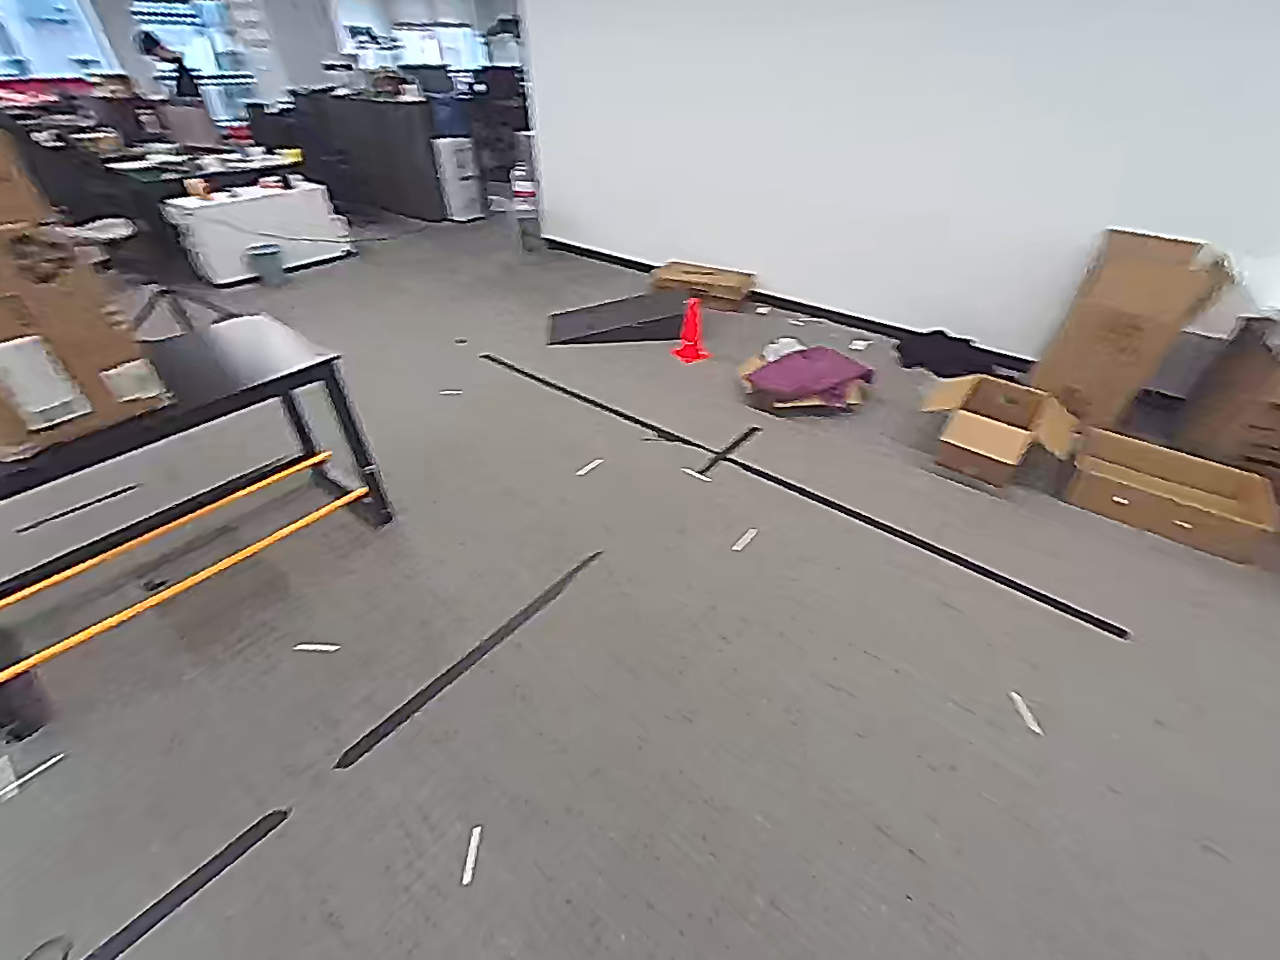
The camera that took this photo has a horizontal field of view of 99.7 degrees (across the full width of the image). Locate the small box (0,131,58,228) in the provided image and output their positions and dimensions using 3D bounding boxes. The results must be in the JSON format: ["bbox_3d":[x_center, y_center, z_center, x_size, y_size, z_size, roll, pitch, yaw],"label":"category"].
[{"bbox_3d":[-1.430,-0.650,1.172,0.168,0.176,0.179,24,44,28],"label":"small box"}]
